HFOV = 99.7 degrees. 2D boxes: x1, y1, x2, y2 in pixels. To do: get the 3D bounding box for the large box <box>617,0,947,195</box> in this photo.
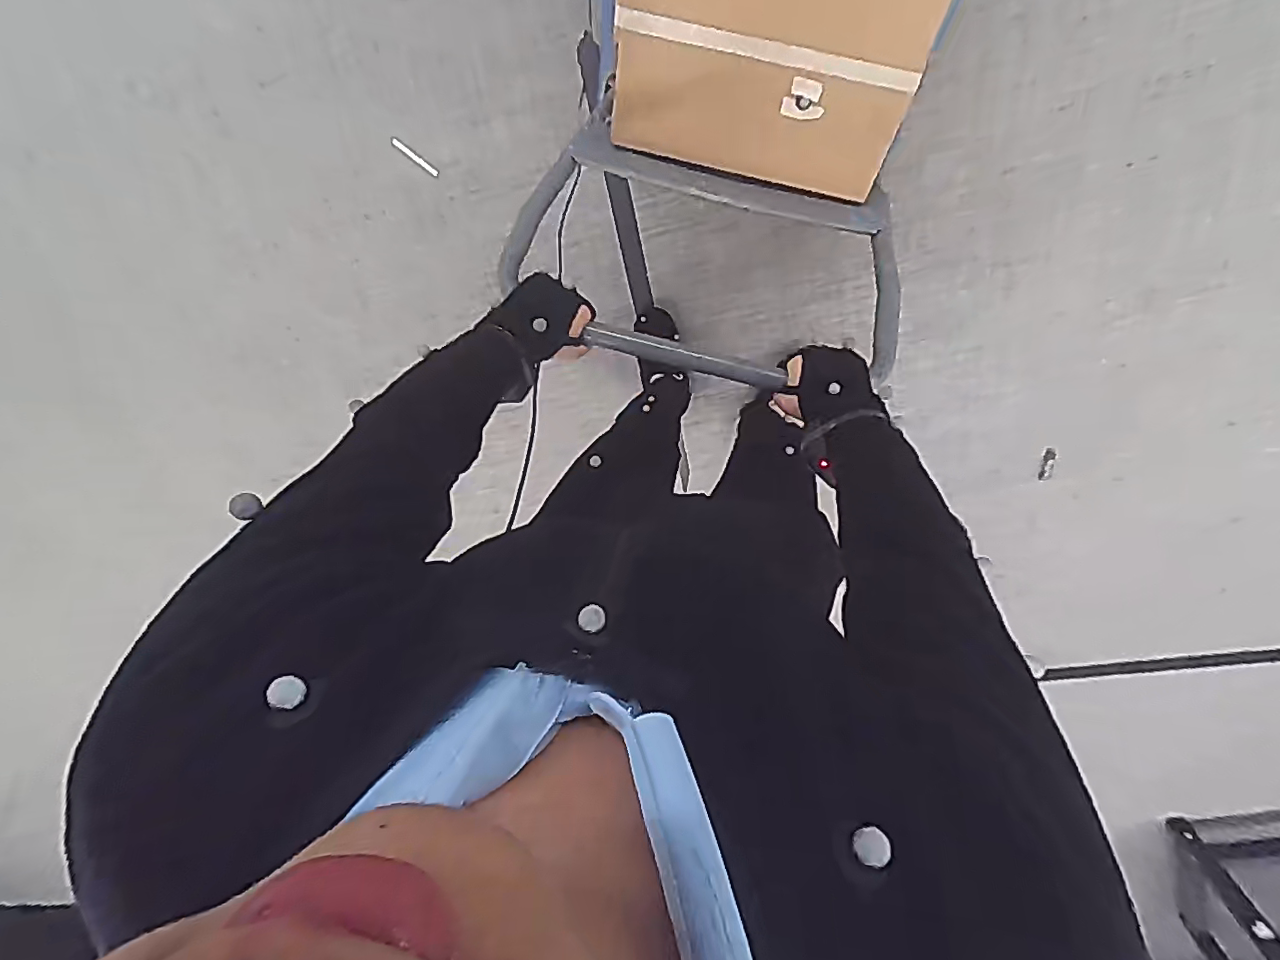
[{"bbox_3d":[0.201,-0.690,0.830,0.408,0.320,0.320,14,139,1],"label":"large box"}]
